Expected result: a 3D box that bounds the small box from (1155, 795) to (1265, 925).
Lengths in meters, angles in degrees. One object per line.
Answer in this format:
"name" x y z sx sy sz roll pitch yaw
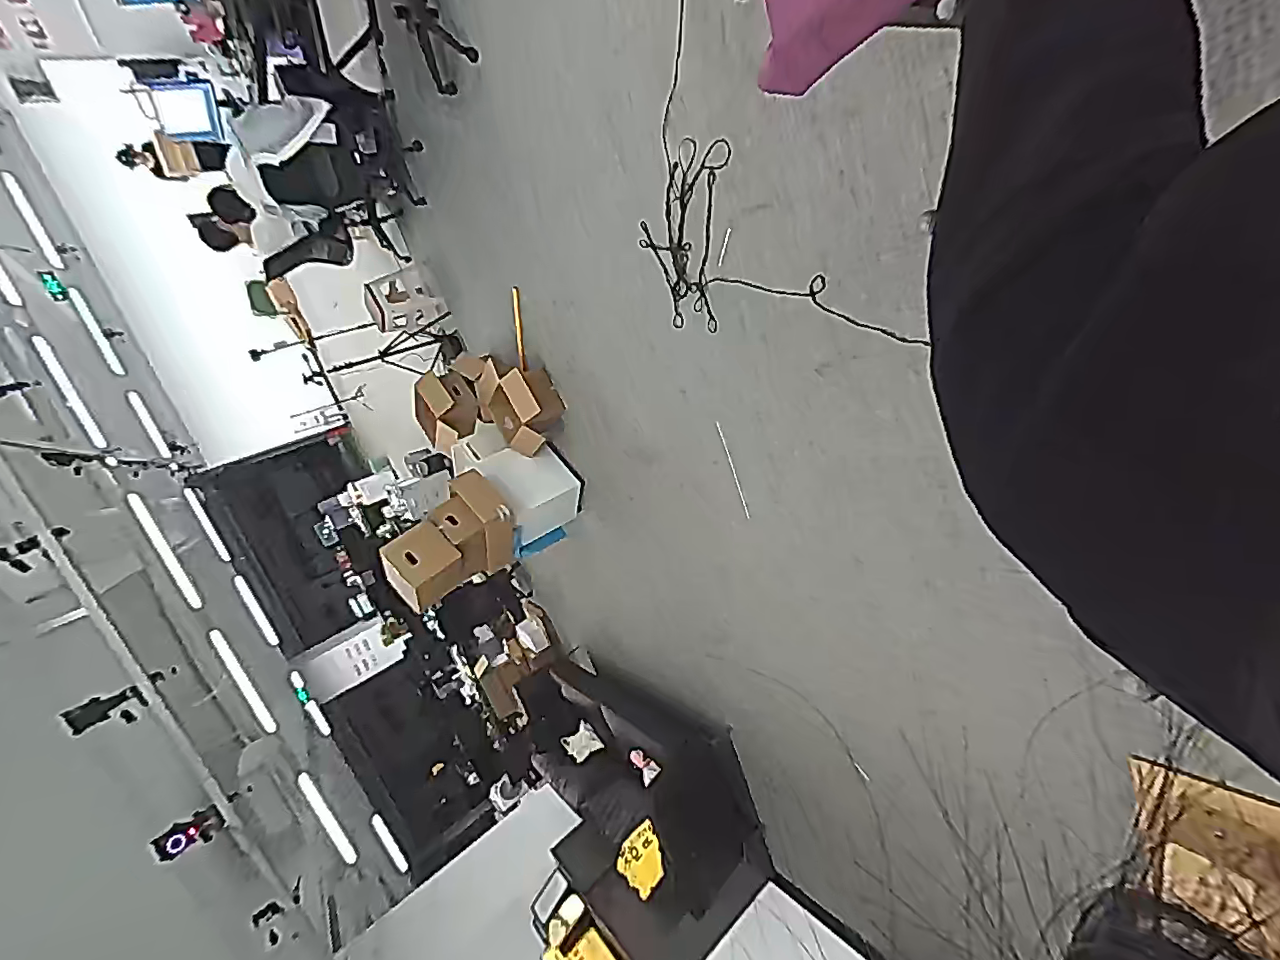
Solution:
"small box" 1.459 0.959 1.385 0.168 0.176 0.179 13 125 54
